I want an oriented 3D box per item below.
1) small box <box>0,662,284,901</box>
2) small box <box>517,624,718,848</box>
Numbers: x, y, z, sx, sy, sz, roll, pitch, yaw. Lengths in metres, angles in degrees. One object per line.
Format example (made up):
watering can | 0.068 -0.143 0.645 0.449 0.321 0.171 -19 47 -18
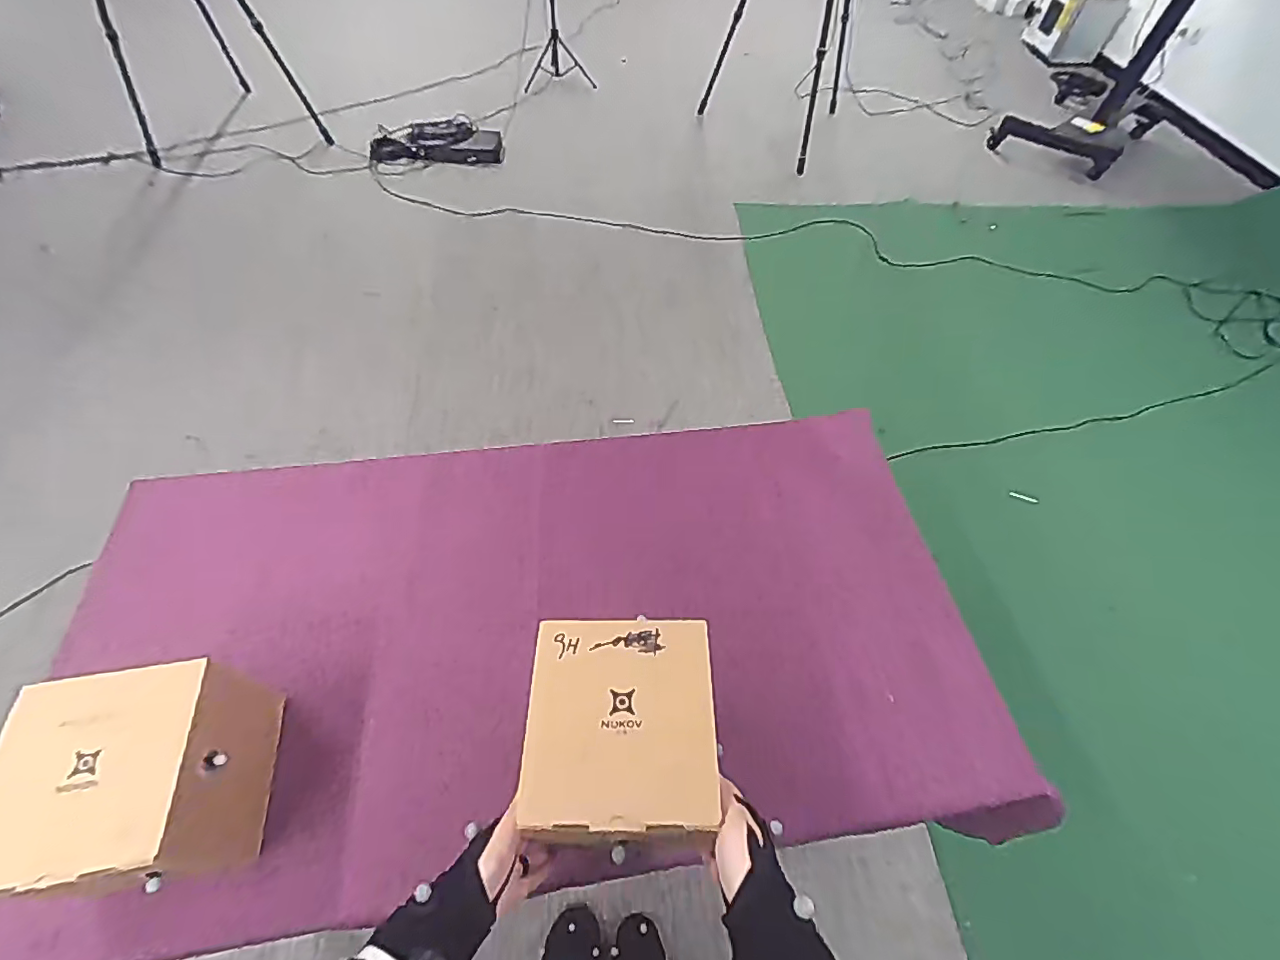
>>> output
small box | -0.501 0.307 0.555 0.168 0.176 0.179 -6 56 -8
small box | -0.015 0.260 0.543 0.168 0.176 0.179 0 52 0
